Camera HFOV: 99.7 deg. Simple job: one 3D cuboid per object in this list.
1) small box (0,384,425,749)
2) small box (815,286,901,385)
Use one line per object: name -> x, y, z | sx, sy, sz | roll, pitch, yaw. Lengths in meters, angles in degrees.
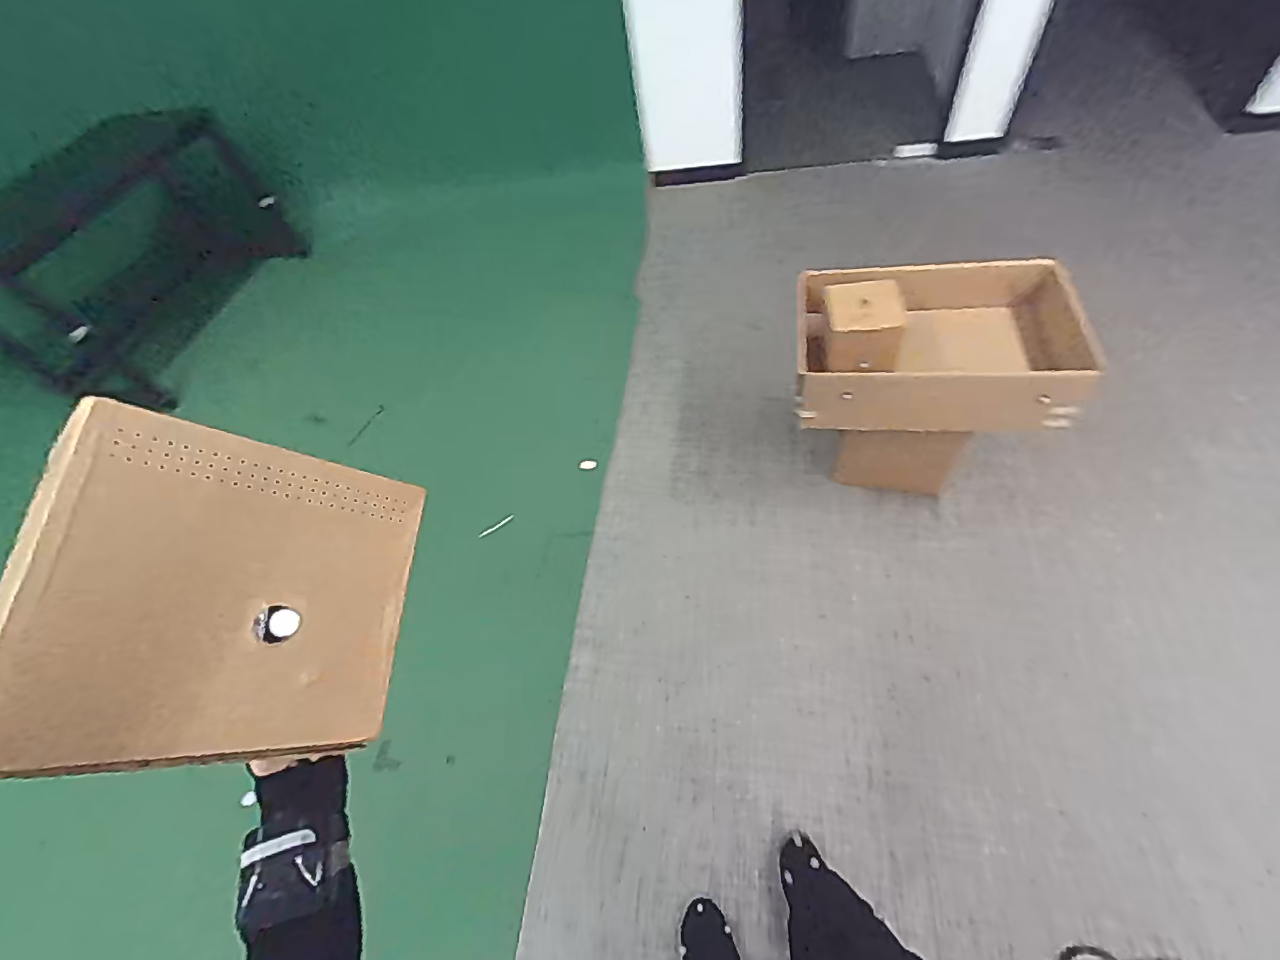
small box -> -0.265, 0.058, 0.347 | 0.168, 0.179, 0.176 | -10, 67, 39
small box -> 0.544, -0.364, 1.373 | 0.168, 0.176, 0.179 | -2, 55, 11
